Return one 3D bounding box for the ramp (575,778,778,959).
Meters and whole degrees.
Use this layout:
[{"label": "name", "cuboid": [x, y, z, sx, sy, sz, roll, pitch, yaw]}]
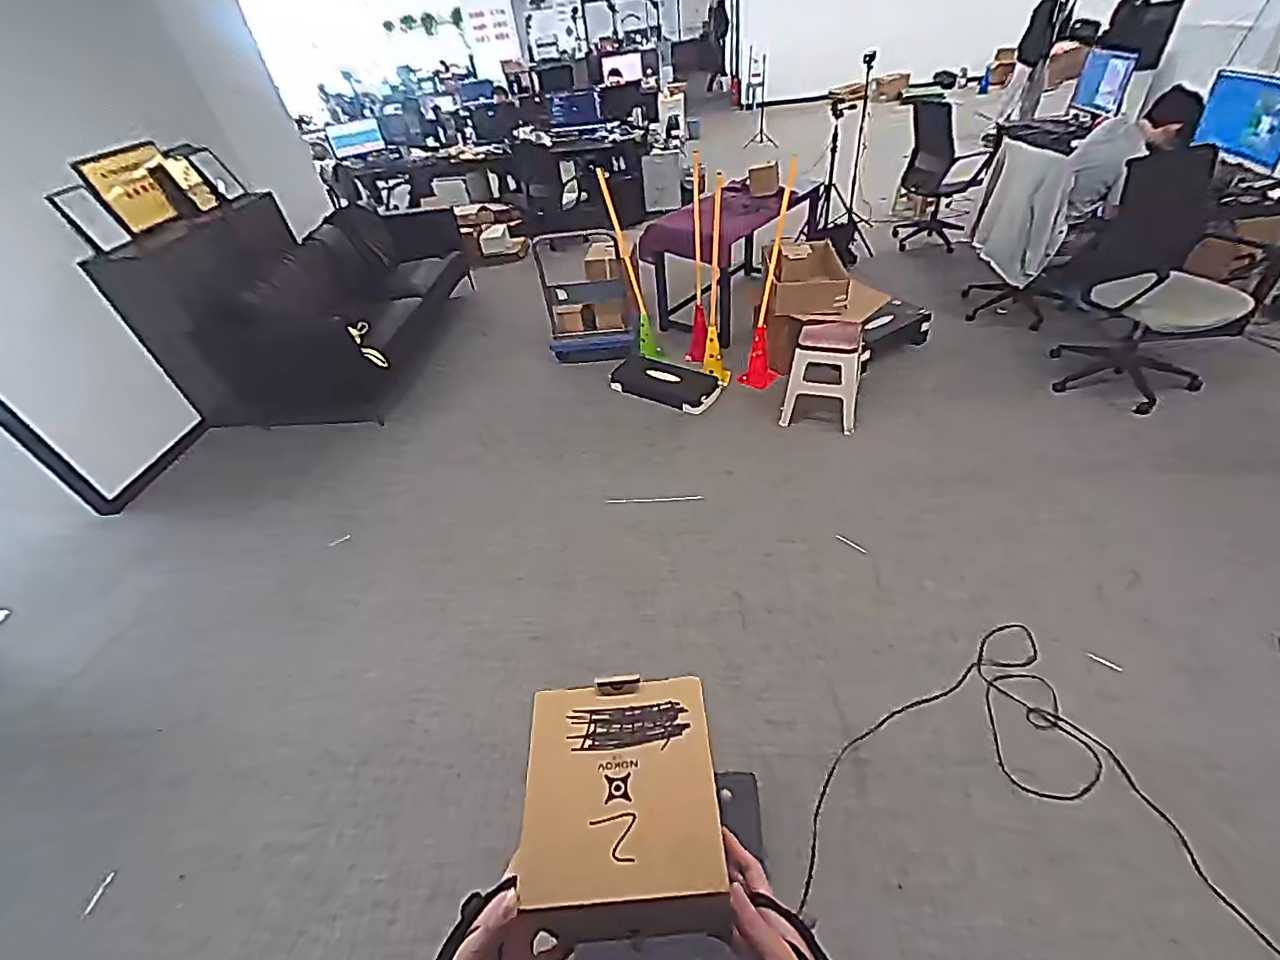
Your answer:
[{"label": "ramp", "cuboid": [0.079, 1.186, 1.251, 0.509, 0.206, 0.991, -5, 41, 6]}]
